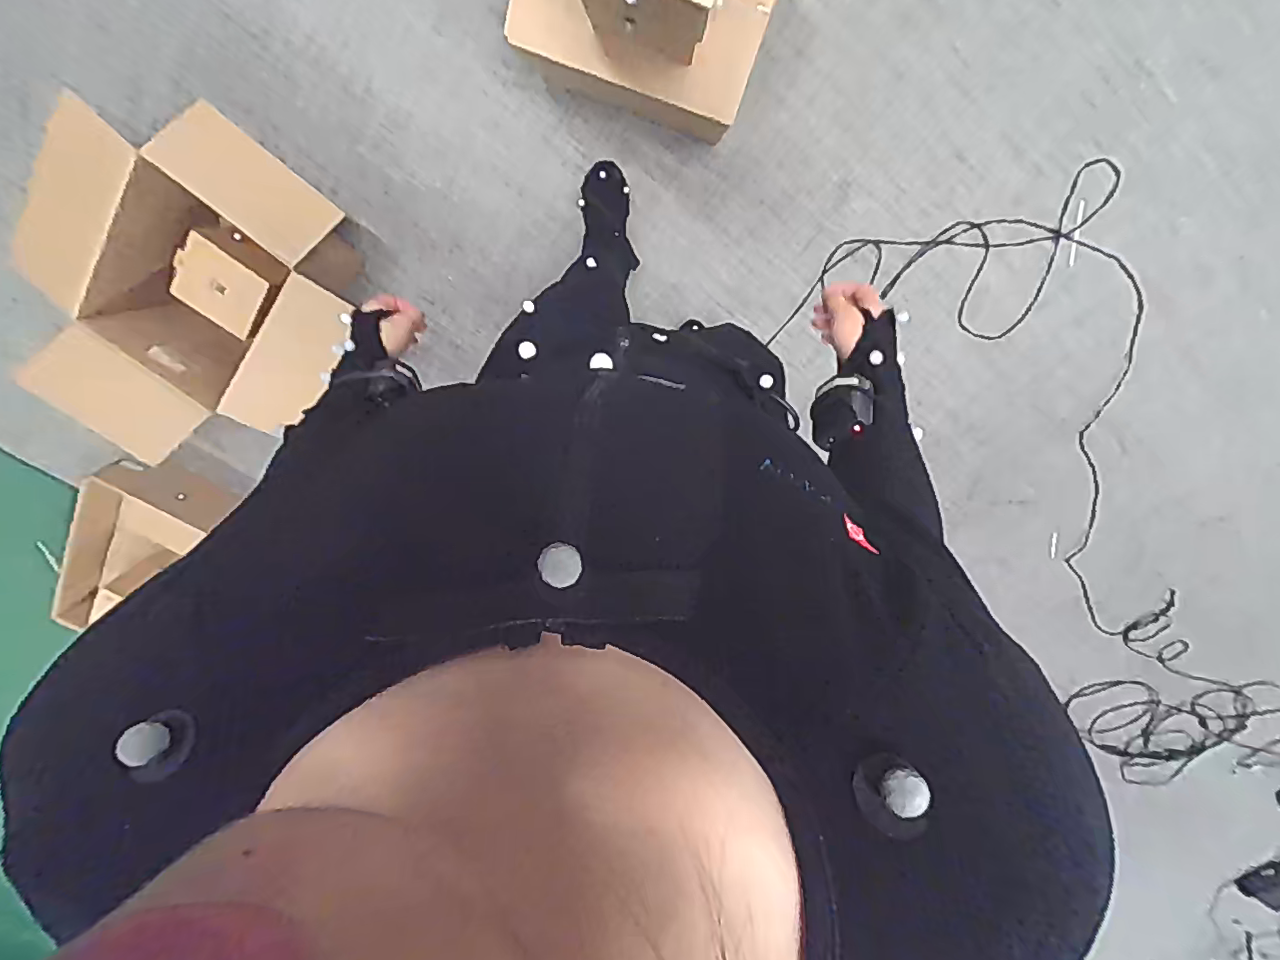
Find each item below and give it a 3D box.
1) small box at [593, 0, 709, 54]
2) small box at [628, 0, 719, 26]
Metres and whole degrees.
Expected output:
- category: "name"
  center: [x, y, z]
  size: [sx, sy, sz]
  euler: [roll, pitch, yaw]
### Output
- category: "small box"
  center: [0.030, -0.744, 0.767]
  size: [0.179, 0.176, 0.168]
  euler: [18, 117, -6]
- category: "small box"
  center: [0.034, -0.666, 0.625]
  size: [0.179, 0.176, 0.168]
  euler: [18, 118, -5]
